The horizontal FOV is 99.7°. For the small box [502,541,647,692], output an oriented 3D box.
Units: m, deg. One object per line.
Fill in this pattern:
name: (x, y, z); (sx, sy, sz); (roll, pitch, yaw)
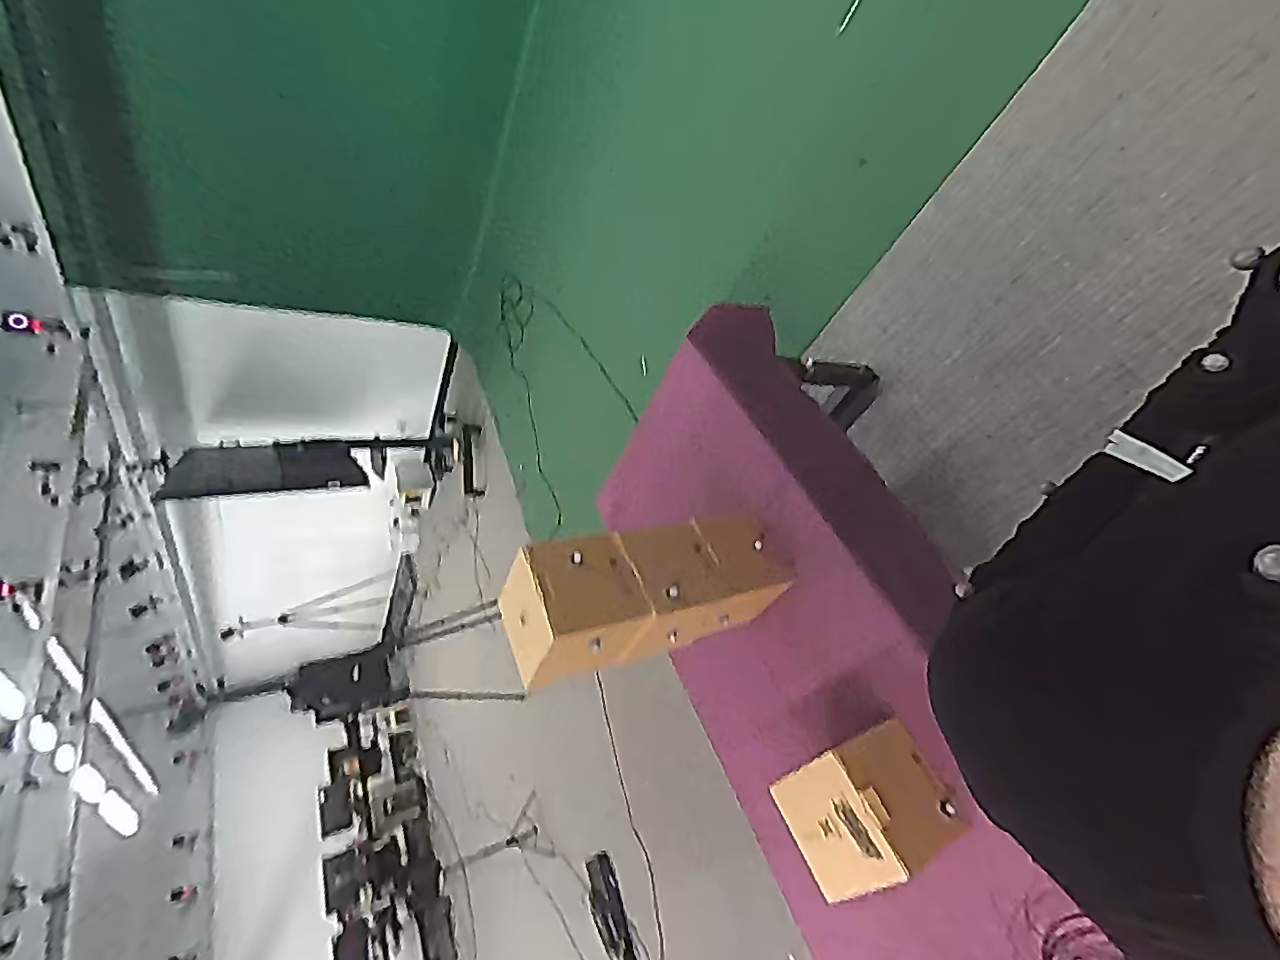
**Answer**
small box: (-0.108, 0.217, 0.894); (0.168, 0.176, 0.179); (61, 139, 33)

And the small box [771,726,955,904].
small box: (0.346, 0.508, 0.835); (0.168, 0.176, 0.179); (61, 139, 33)

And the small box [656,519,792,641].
small box: (0.165, 0.195, 1.073); (0.179, 0.176, 0.168); (-57, 49, 41)
